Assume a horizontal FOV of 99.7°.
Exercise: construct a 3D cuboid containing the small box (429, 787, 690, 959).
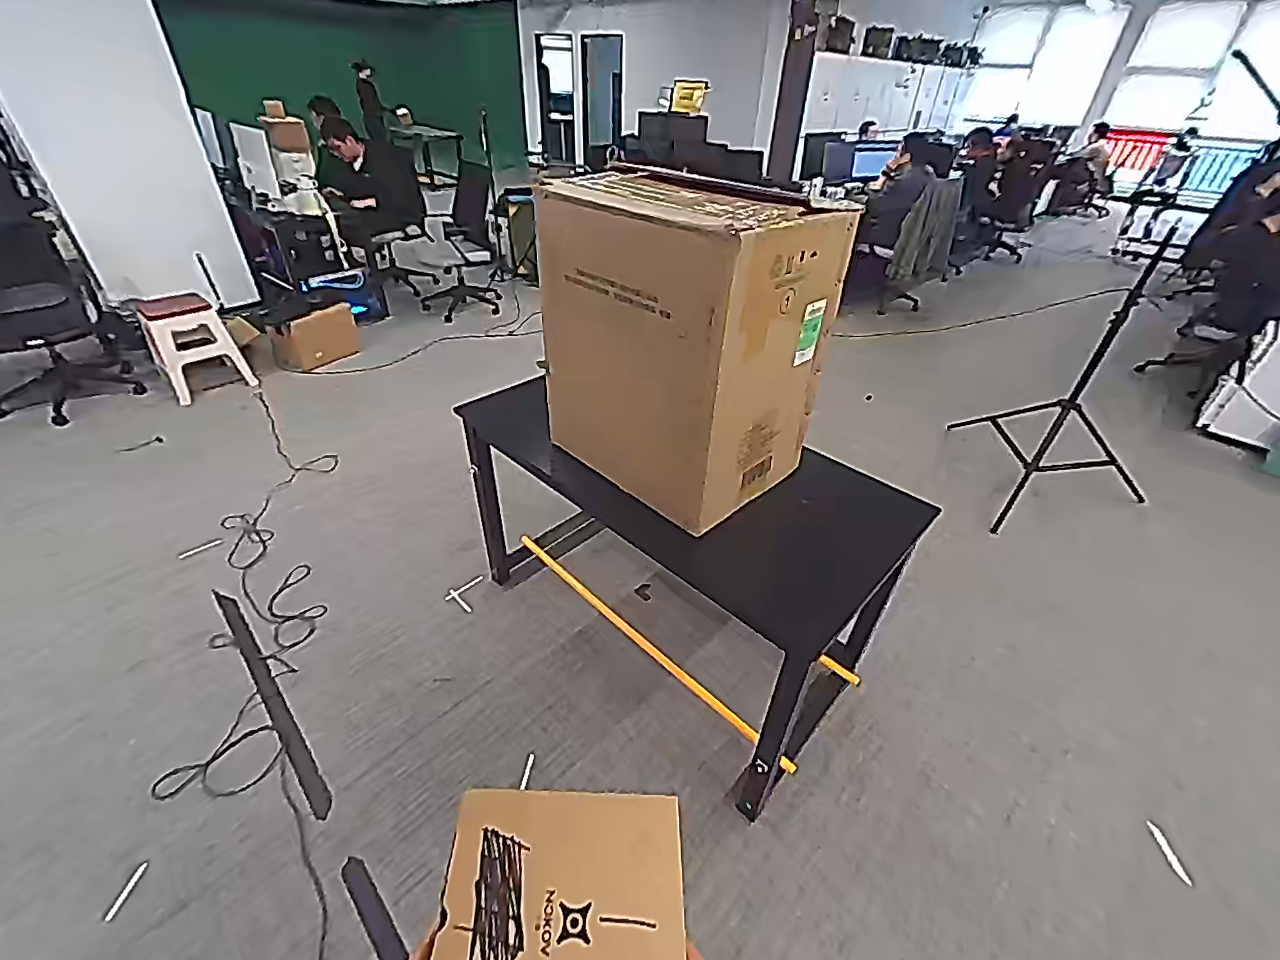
[{"bbox_3d":[-0.061,0.364,0.428,0.179,0.176,0.168,5,41,-5],"label":"small box"}]
